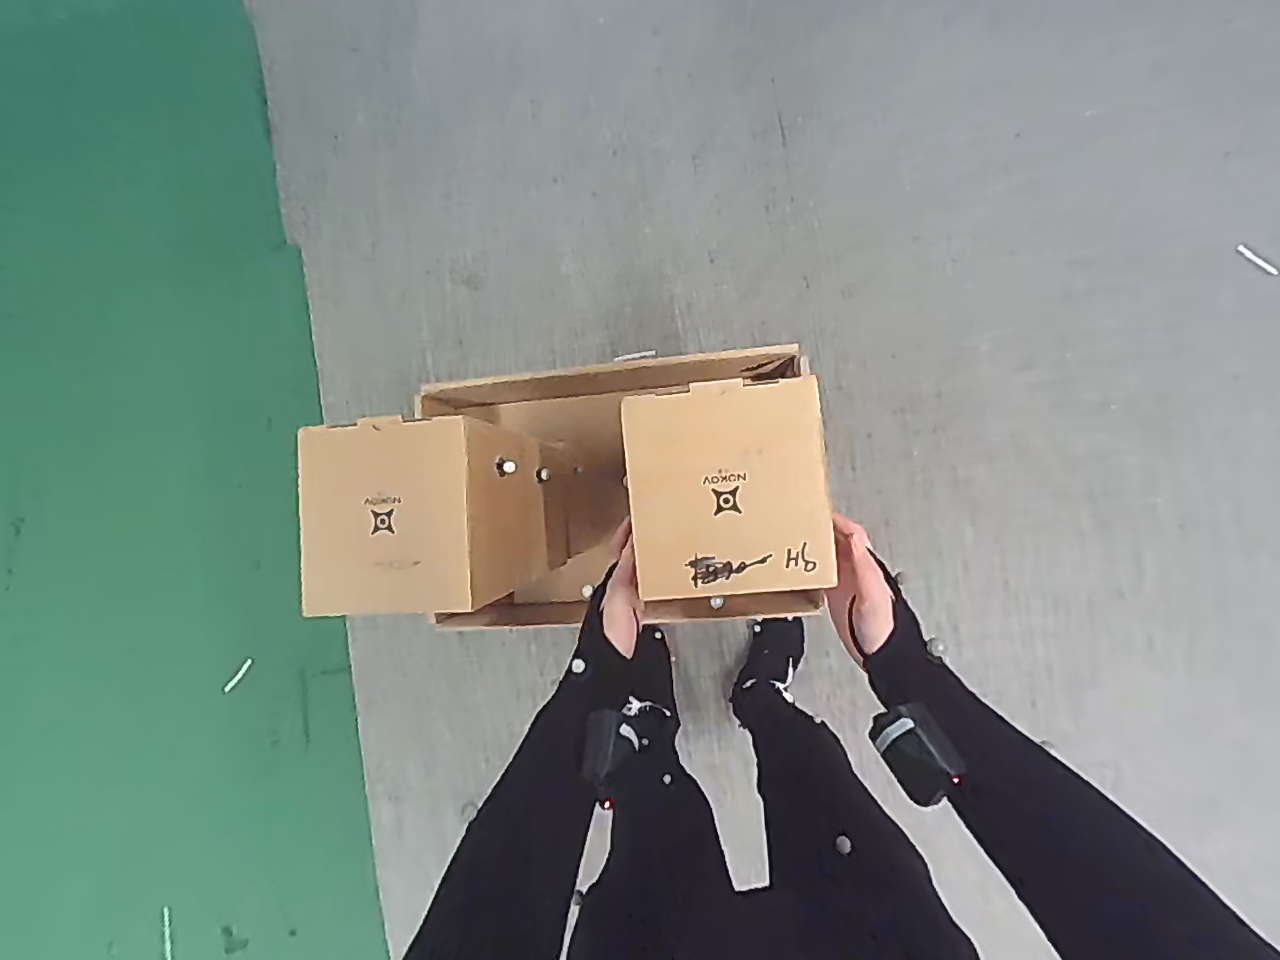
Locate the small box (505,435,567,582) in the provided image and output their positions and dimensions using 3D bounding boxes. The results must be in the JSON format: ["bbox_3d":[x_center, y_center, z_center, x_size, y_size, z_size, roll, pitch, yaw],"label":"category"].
[{"bbox_3d":[-0.201,0.039,0.728,0.168,0.176,0.179,-3,89,9],"label":"small box"}]

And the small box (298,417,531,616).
[{"bbox_3d":[-0.222,0.037,0.567,0.168,0.176,0.179,-4,88,9],"label":"small box"}]

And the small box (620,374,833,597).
[{"bbox_3d":[0.078,0.008,0.528,0.168,0.176,0.179,-6,89,7],"label":"small box"}]
